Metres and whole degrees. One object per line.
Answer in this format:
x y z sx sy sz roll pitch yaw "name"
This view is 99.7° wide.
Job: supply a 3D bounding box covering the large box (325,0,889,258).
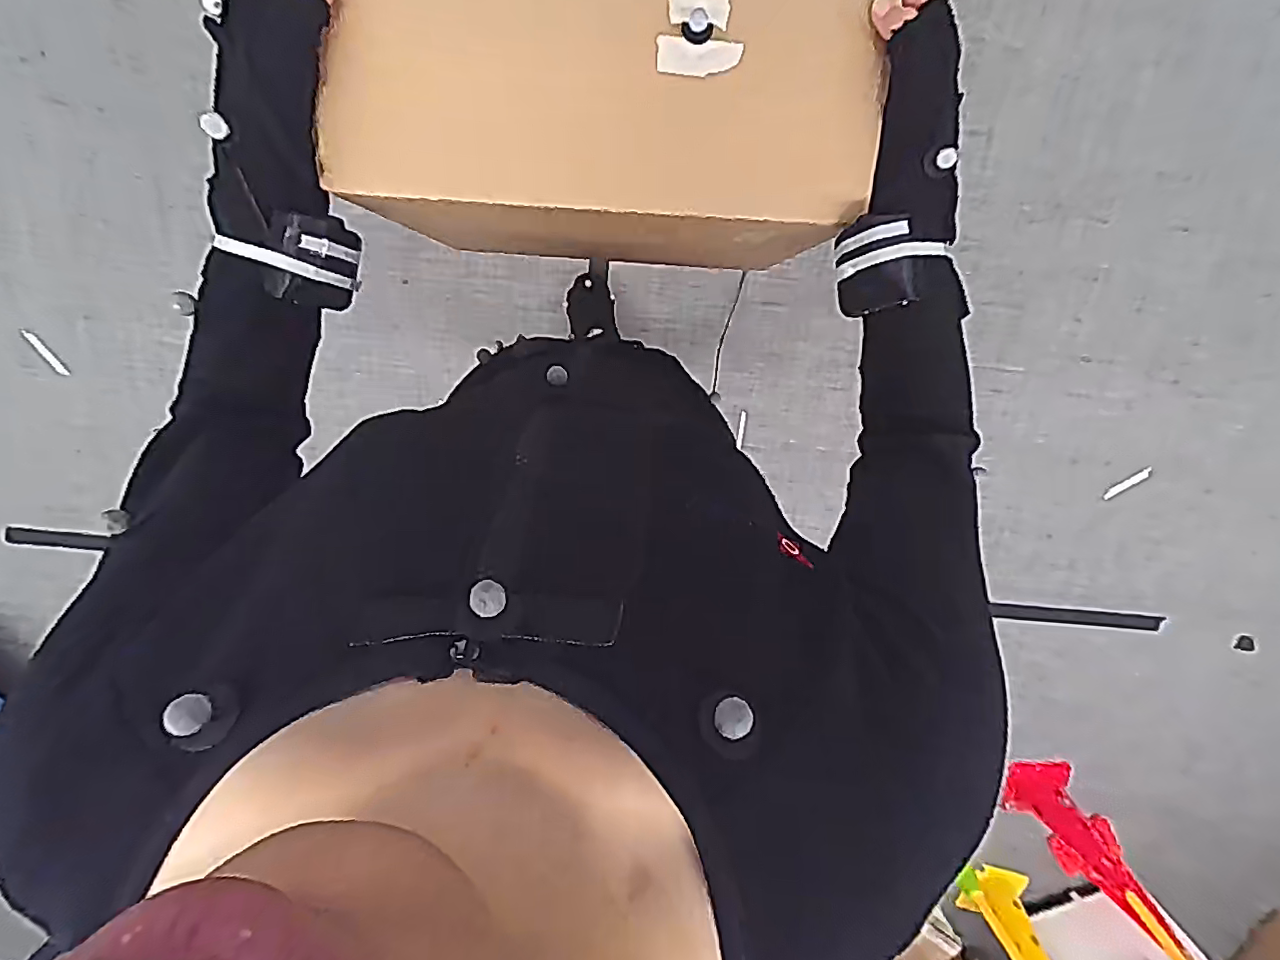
-0.024 -0.404 0.516 0.408 0.320 0.320 3 106 -2 "large box"
